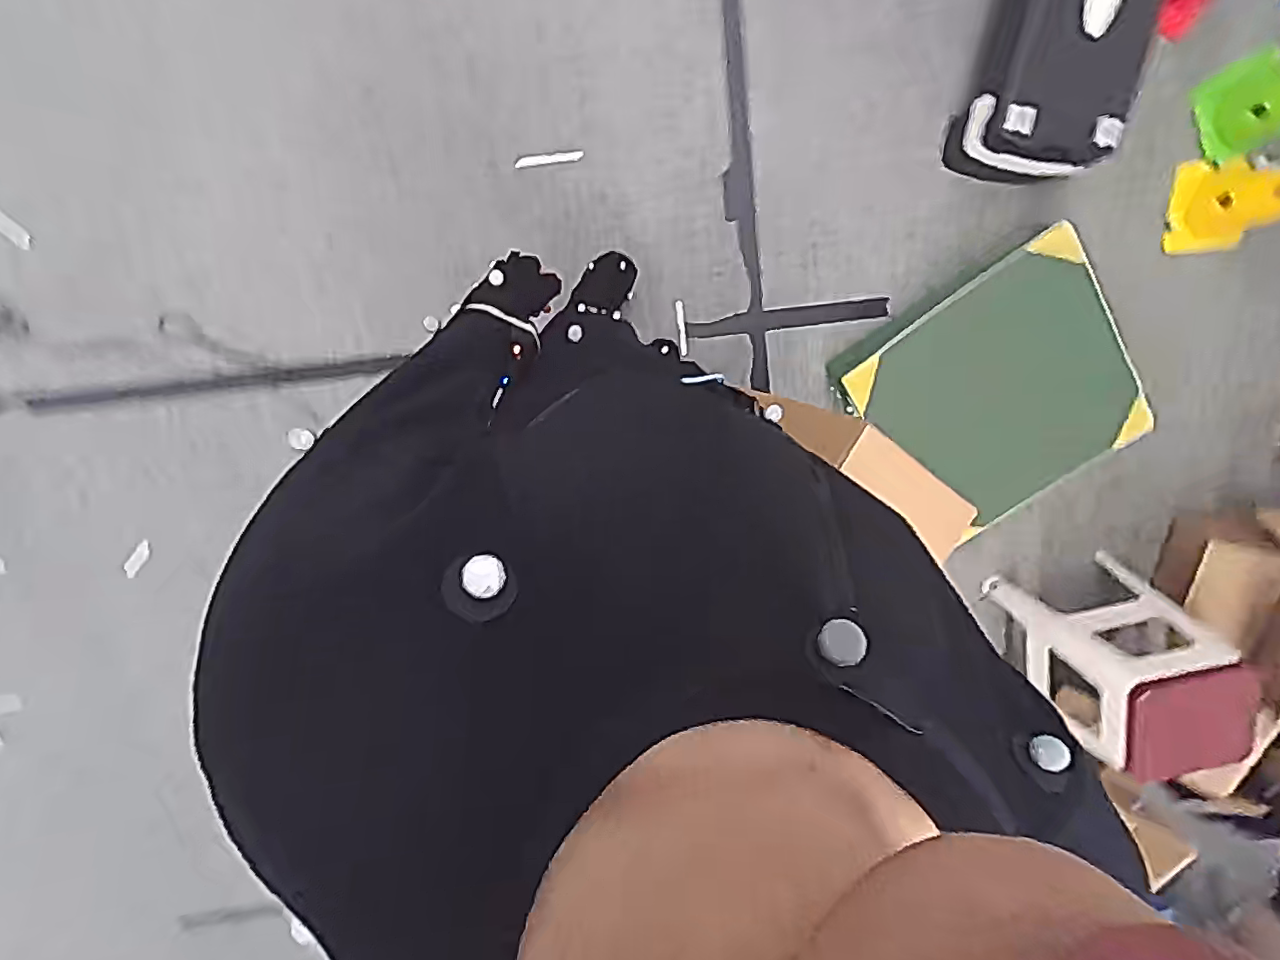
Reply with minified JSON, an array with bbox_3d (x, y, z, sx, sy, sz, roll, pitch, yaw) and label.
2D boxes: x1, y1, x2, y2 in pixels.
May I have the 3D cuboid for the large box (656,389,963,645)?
[{"bbox_3d":[0.295,0.051,1.037,0.320,0.408,0.320,27,95,-26],"label":"large box"}]
